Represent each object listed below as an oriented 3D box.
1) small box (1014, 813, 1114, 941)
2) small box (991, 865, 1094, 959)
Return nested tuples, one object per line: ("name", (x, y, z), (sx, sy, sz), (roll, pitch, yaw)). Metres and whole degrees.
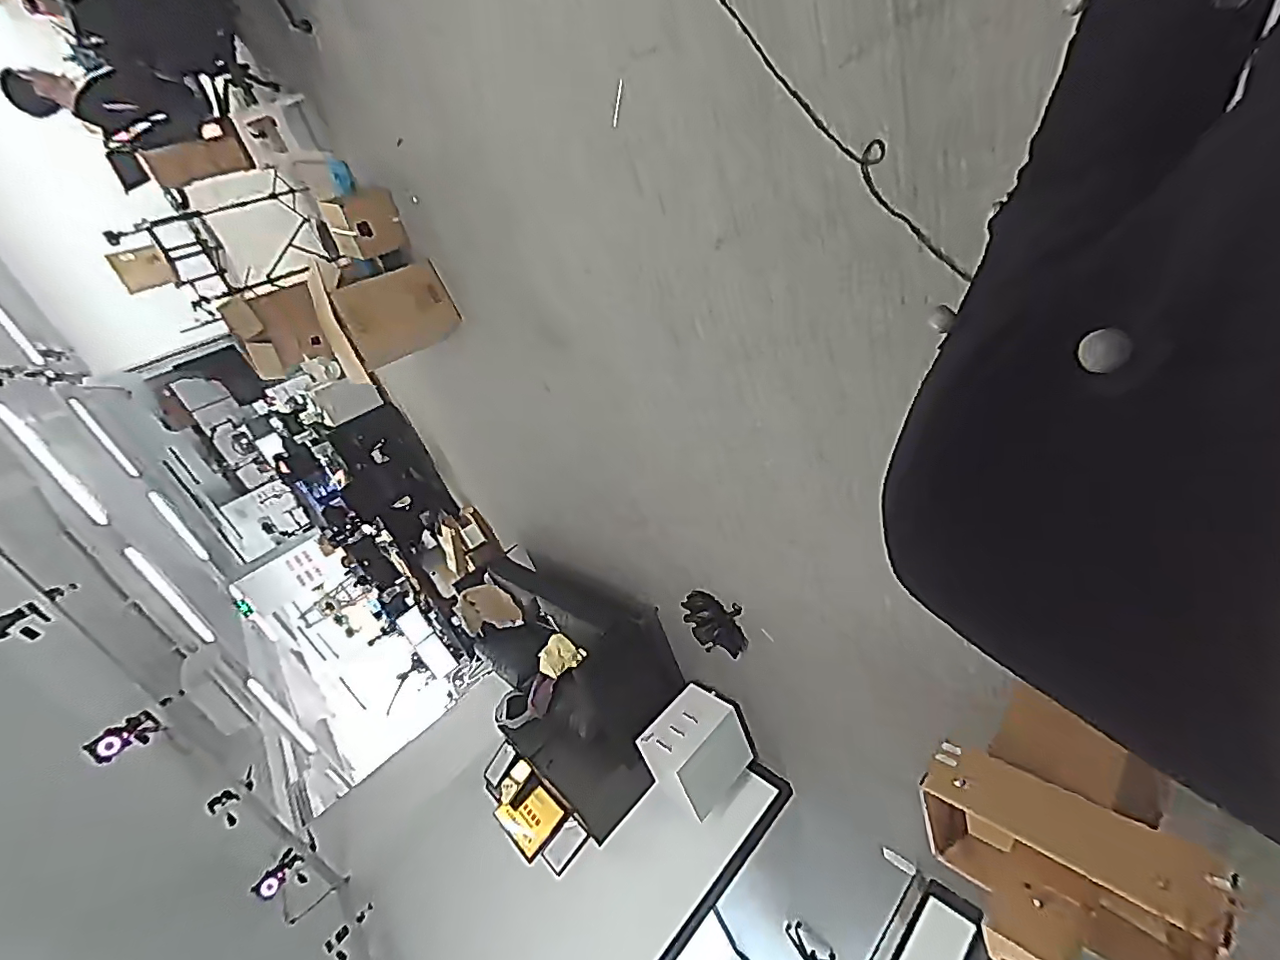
("small box", (1.119, 1.034, 1.422), (0.168, 0.176, 0.179), (5, 126, 53))
("small box", (1.005, 1.123, 1.346), (0.168, 0.176, 0.179), (7, 128, 51))
